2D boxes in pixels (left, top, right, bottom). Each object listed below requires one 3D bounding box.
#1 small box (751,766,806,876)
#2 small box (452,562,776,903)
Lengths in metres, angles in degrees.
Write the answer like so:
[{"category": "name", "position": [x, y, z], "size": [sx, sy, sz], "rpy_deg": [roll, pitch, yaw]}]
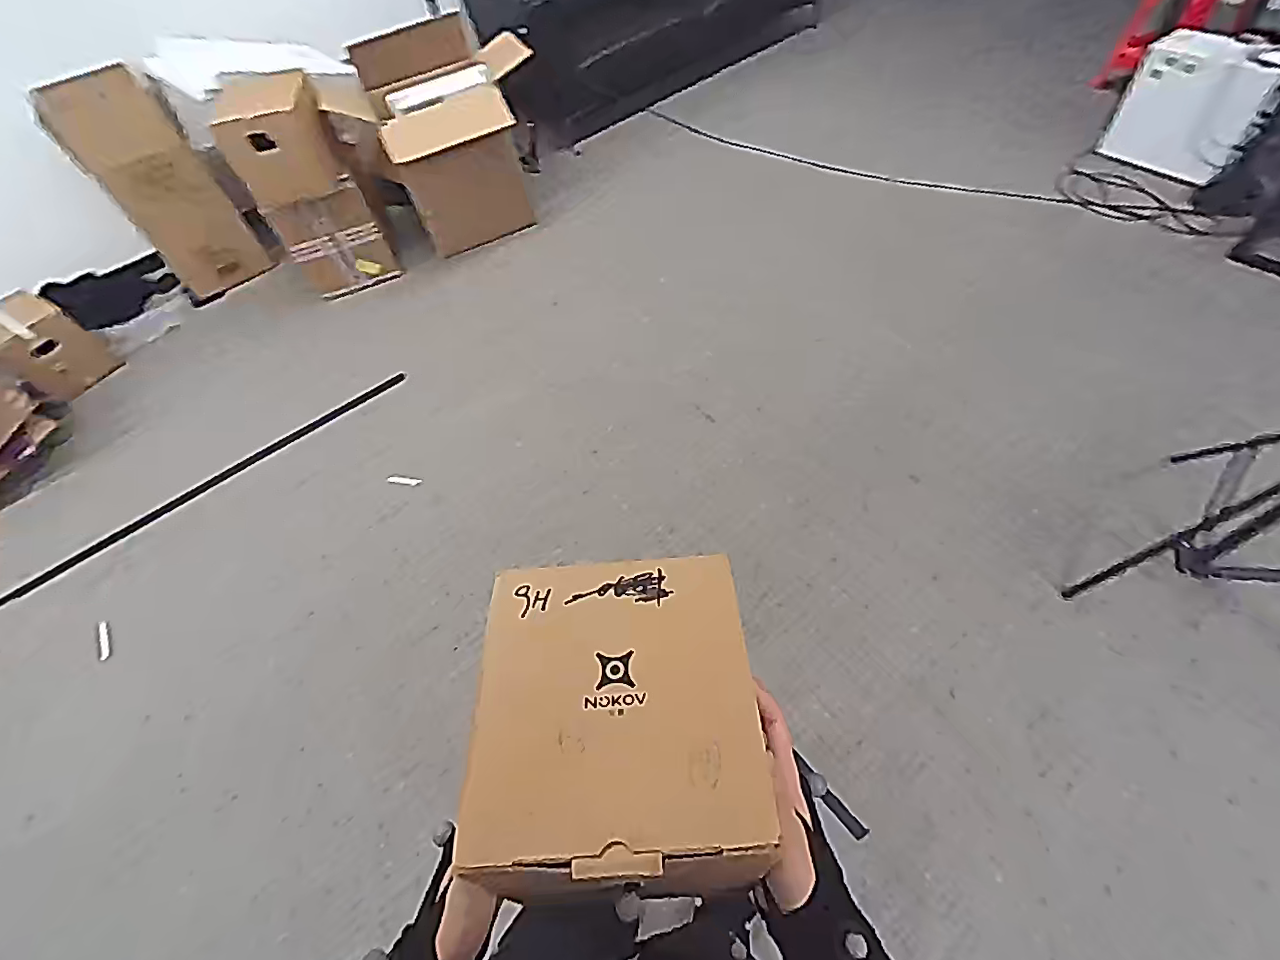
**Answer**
[{"category": "small box", "position": [0.185, 0.625, 1.023], "size": [0.168, 0.176, 0.179], "rpy_deg": [-37, 57, -15]}, {"category": "small box", "position": [-0.011, 0.180, 0.378], "size": [0.168, 0.176, 0.179], "rpy_deg": [-4, 48, 0]}]
